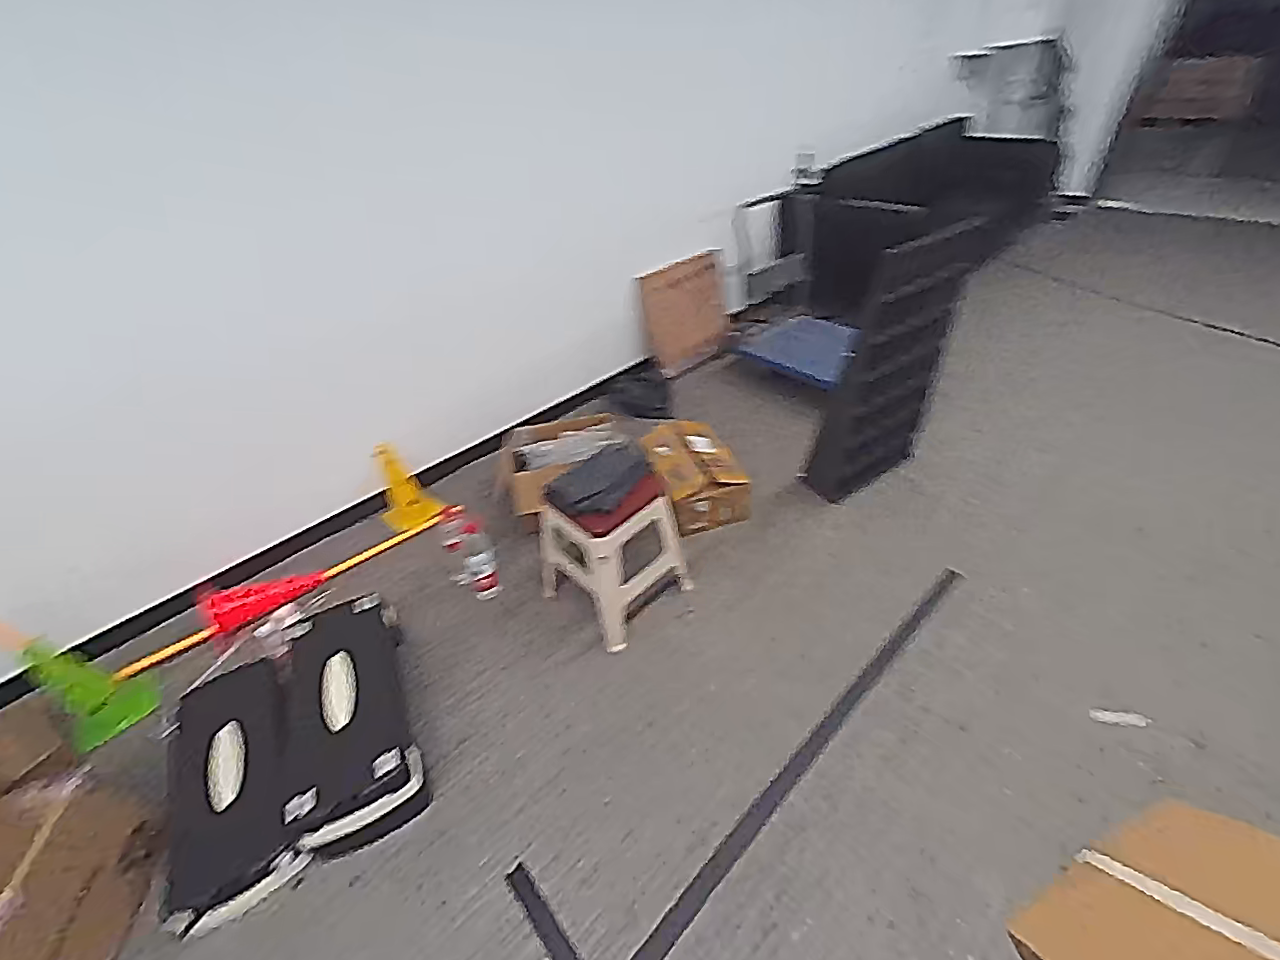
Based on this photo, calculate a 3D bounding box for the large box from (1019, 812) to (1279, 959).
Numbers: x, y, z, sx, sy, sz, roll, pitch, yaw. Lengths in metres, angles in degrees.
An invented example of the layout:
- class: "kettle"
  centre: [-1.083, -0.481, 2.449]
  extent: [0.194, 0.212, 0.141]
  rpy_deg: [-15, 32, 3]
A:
- class: "large box"
  centre: [0.708, 0.620, 0.517]
  extent: [0.320, 0.408, 0.320]
  rpy_deg: [-25, 84, -11]
